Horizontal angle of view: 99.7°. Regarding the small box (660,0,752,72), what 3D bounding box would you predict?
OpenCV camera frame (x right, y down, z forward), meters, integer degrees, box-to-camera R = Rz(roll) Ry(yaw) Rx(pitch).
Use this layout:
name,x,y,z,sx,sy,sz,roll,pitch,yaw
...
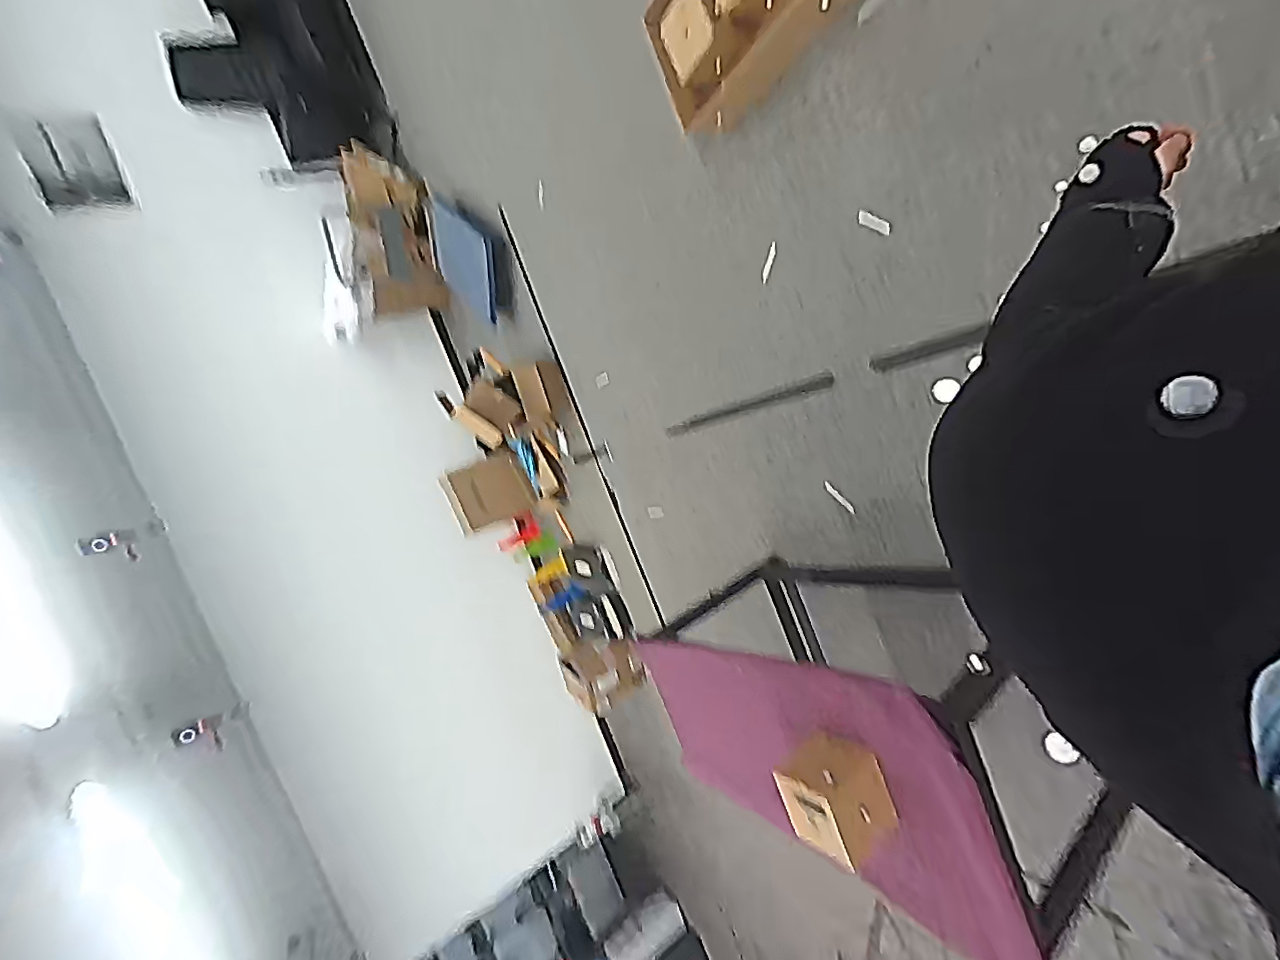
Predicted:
name,x,y,z,sx,sy,sz,roll,pitch,yaw
small box,0.194,-1.321,1.555,0.168,0.176,0.179,-17,96,59
